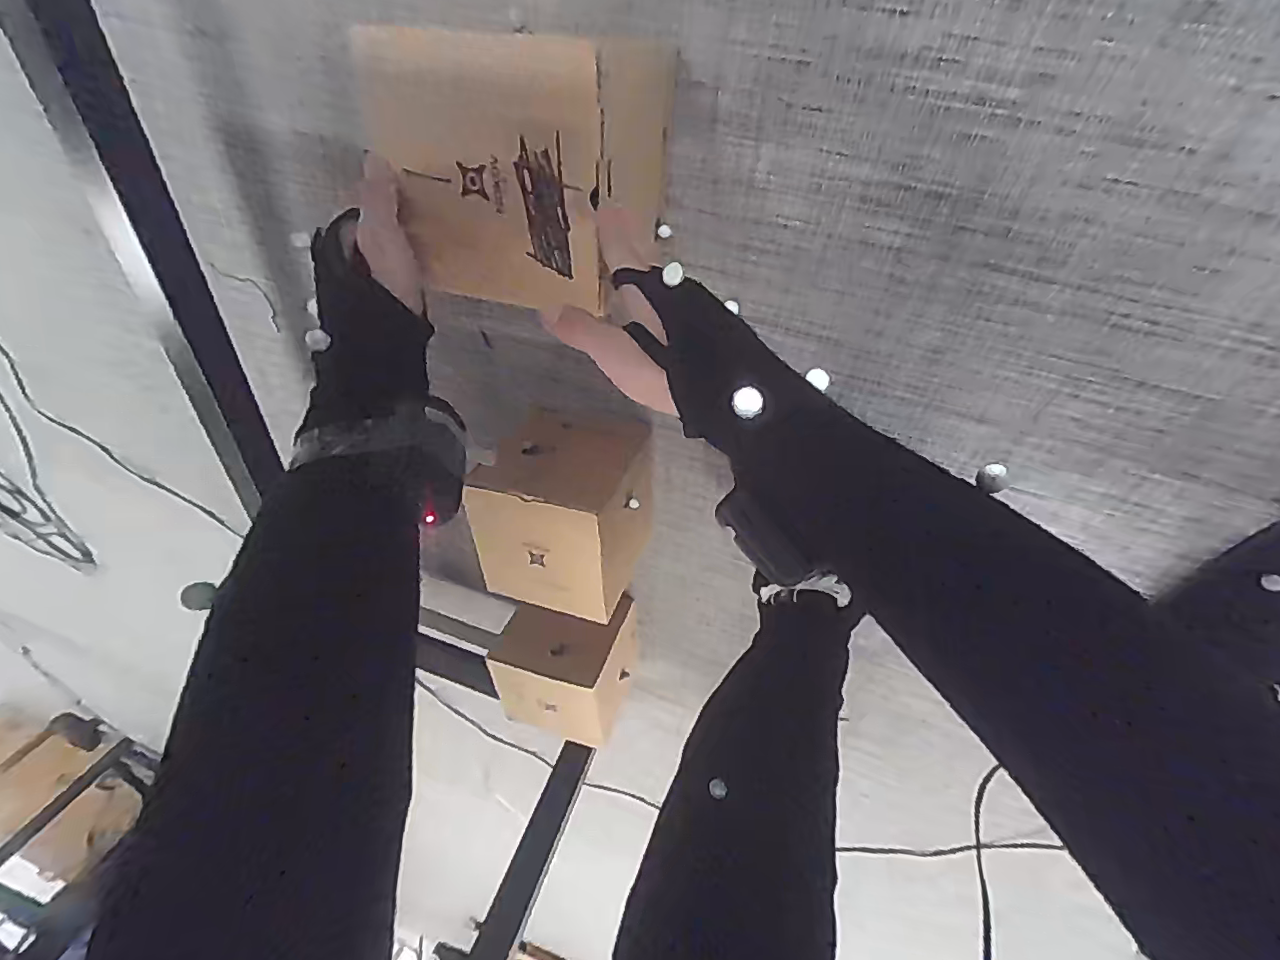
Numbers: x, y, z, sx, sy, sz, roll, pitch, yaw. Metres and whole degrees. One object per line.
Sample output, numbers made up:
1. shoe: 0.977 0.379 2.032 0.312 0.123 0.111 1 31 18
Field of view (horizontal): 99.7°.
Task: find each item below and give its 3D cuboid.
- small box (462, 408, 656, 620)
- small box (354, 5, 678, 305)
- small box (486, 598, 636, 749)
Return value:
1. small box: -0.084 0.032 0.655 0.168 0.176 0.179 12 129 16
2. small box: -0.076 -0.259 0.428 0.179 0.176 0.168 14 130 13
3. small box: -0.109 0.281 0.850 0.179 0.176 0.168 10 128 17
